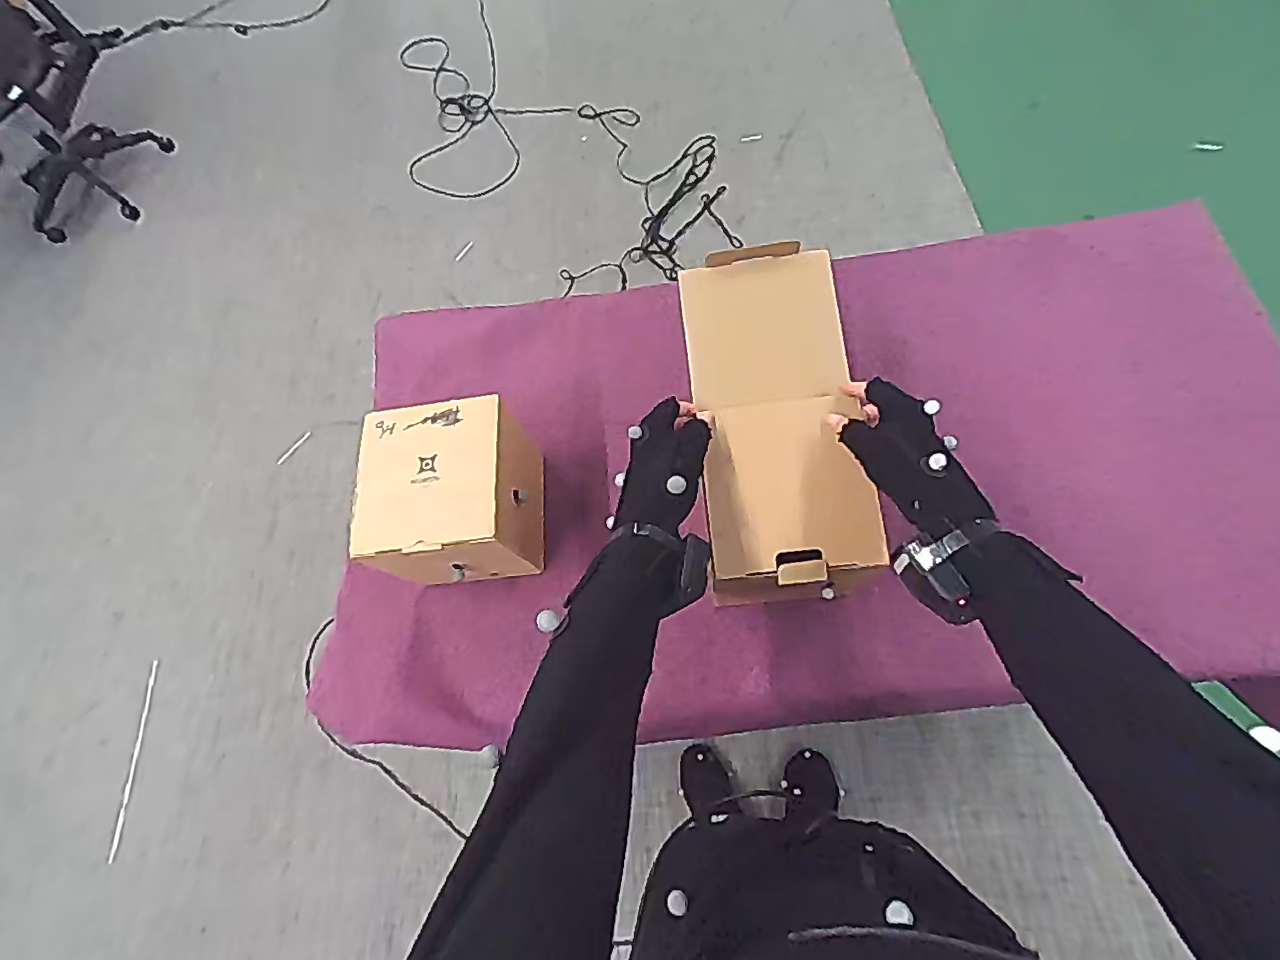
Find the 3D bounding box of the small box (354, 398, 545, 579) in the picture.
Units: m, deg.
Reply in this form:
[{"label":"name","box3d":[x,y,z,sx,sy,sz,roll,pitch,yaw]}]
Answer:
[{"label":"small box","box3d":[-0.220,0.023,0.670,0.168,0.176,0.179,-7,69,6]}]

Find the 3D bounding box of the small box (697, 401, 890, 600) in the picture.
[{"label":"small box","box3d":[0.157,0.035,0.606,0.168,0.176,0.179,-6,68,6]}]
